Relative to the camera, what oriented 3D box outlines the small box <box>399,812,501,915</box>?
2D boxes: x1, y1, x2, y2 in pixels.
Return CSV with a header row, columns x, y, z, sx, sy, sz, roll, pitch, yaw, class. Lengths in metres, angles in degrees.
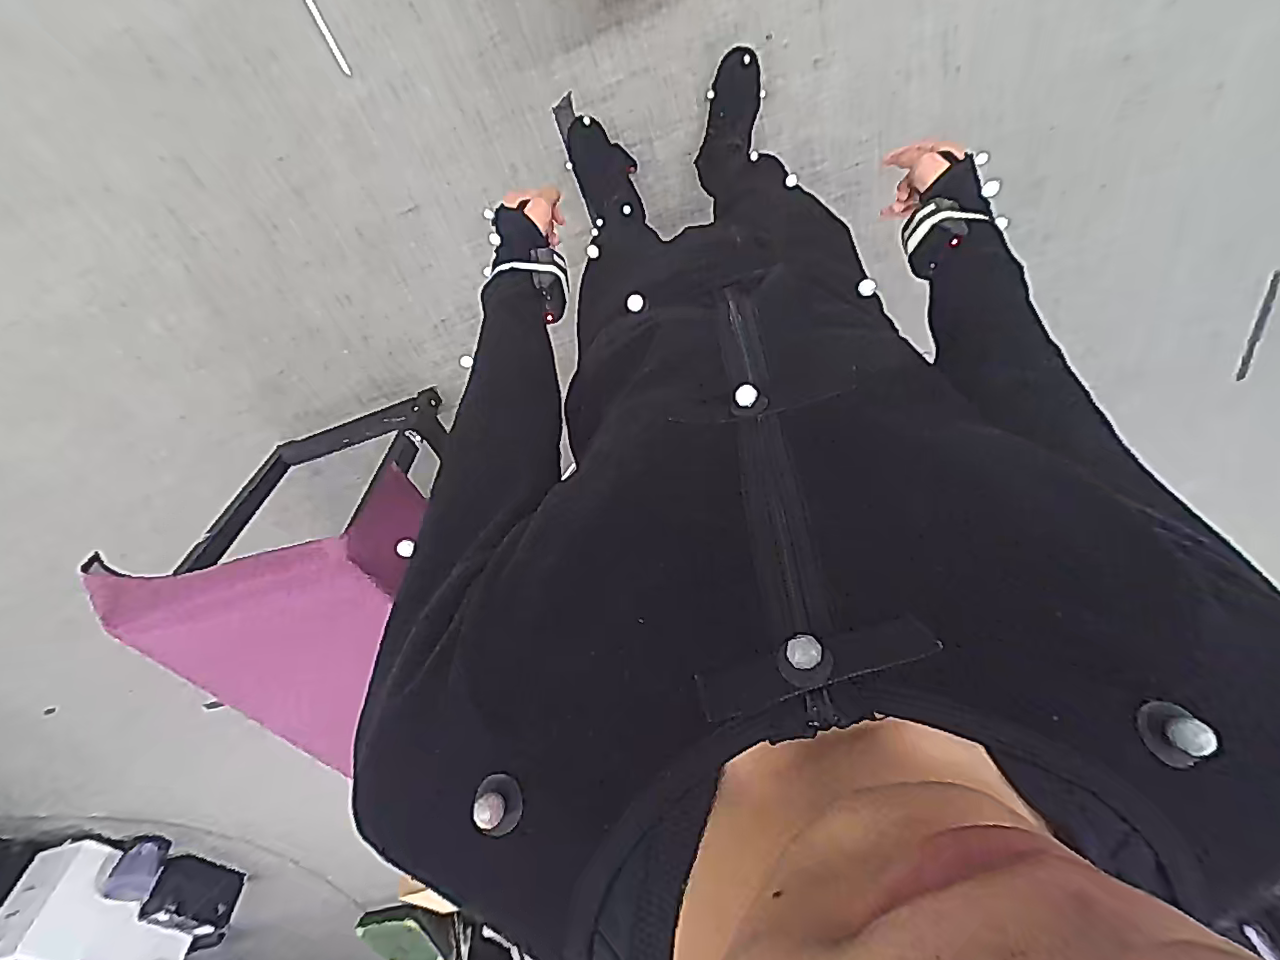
x,y,z,sx,sy,sz,roll,pitch,yaw,class
-0.486,1.002,1.416,0.179,0.176,0.168,-27,125,16,small box
